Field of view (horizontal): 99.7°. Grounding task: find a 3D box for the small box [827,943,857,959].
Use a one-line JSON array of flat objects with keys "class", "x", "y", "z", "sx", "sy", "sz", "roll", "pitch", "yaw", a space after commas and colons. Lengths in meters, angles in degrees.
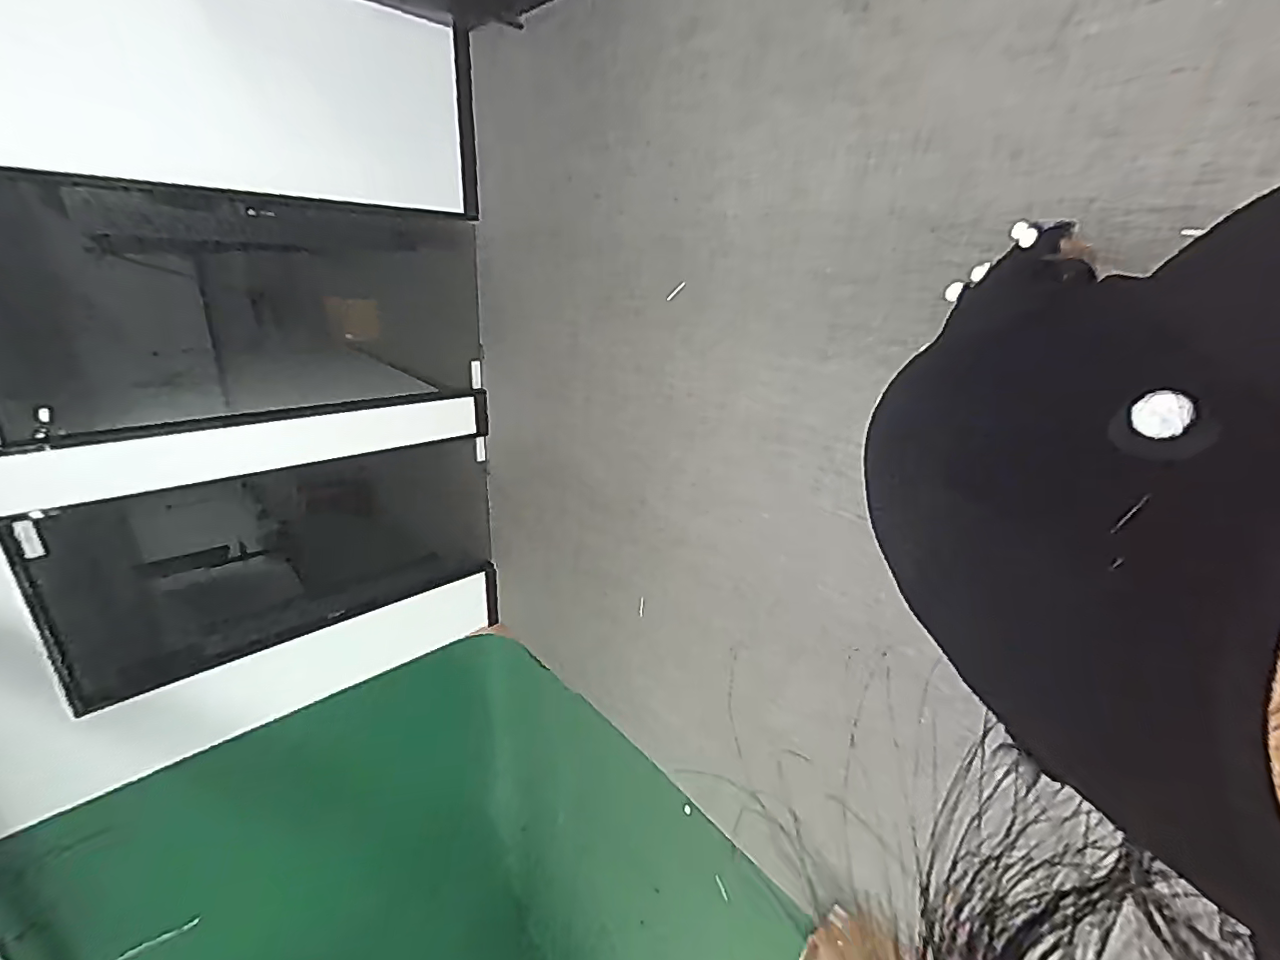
[{"class": "small box", "x": 0.730, "y": 1.847, "z": 1.952, "sx": 0.168, "sy": 0.176, "sz": 0.179, "roll": 31, "pitch": 123, "yaw": 37}]
